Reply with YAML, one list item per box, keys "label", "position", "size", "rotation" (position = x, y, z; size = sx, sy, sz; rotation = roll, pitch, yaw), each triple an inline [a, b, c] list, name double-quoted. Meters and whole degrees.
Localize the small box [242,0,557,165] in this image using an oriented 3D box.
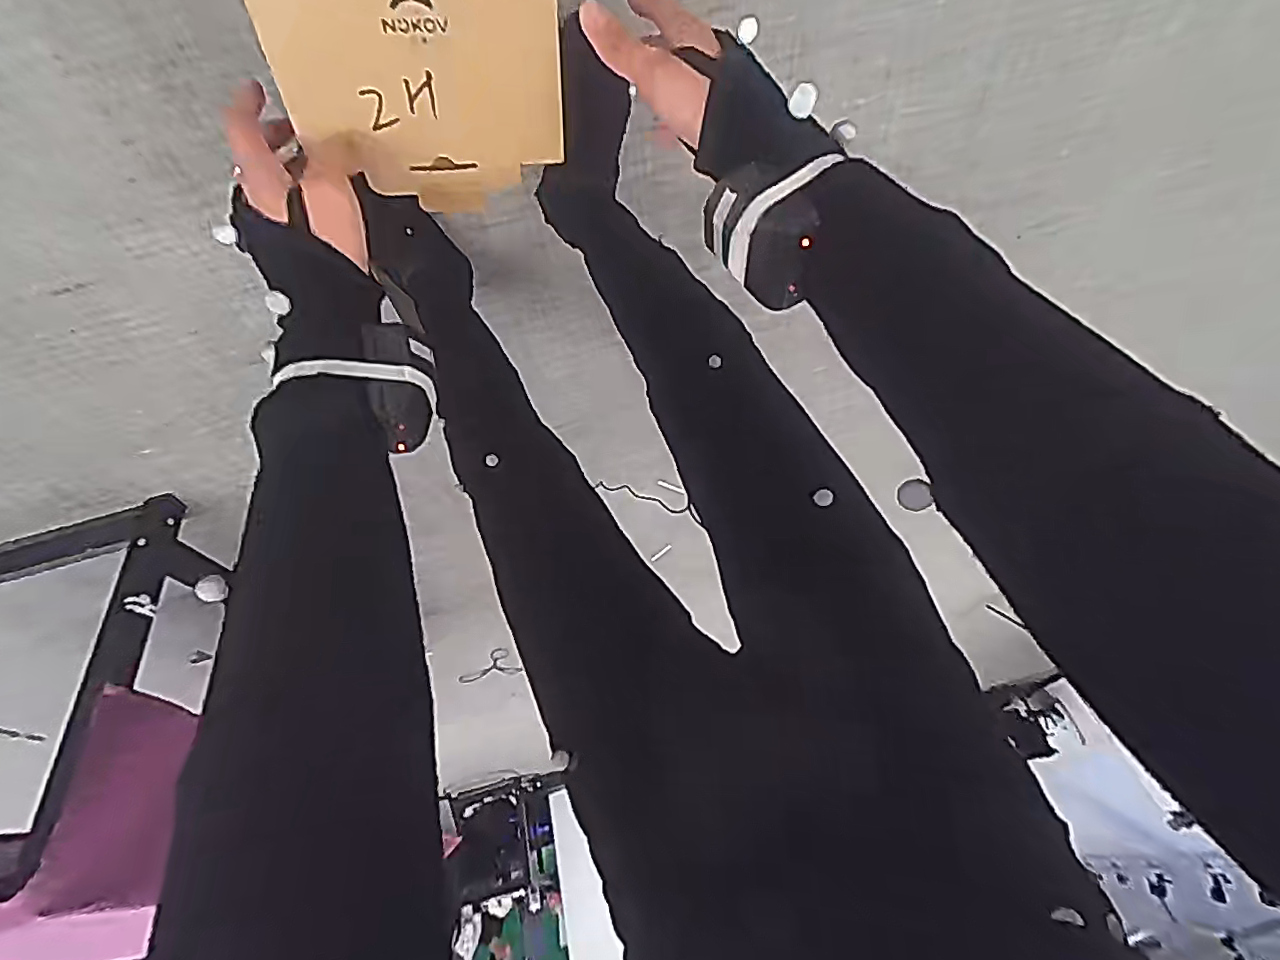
- label: "small box"
  position: [-0.150, -0.328, 0.339]
  size: [0.168, 0.176, 0.179]
  rotation: [-9, 144, -12]
